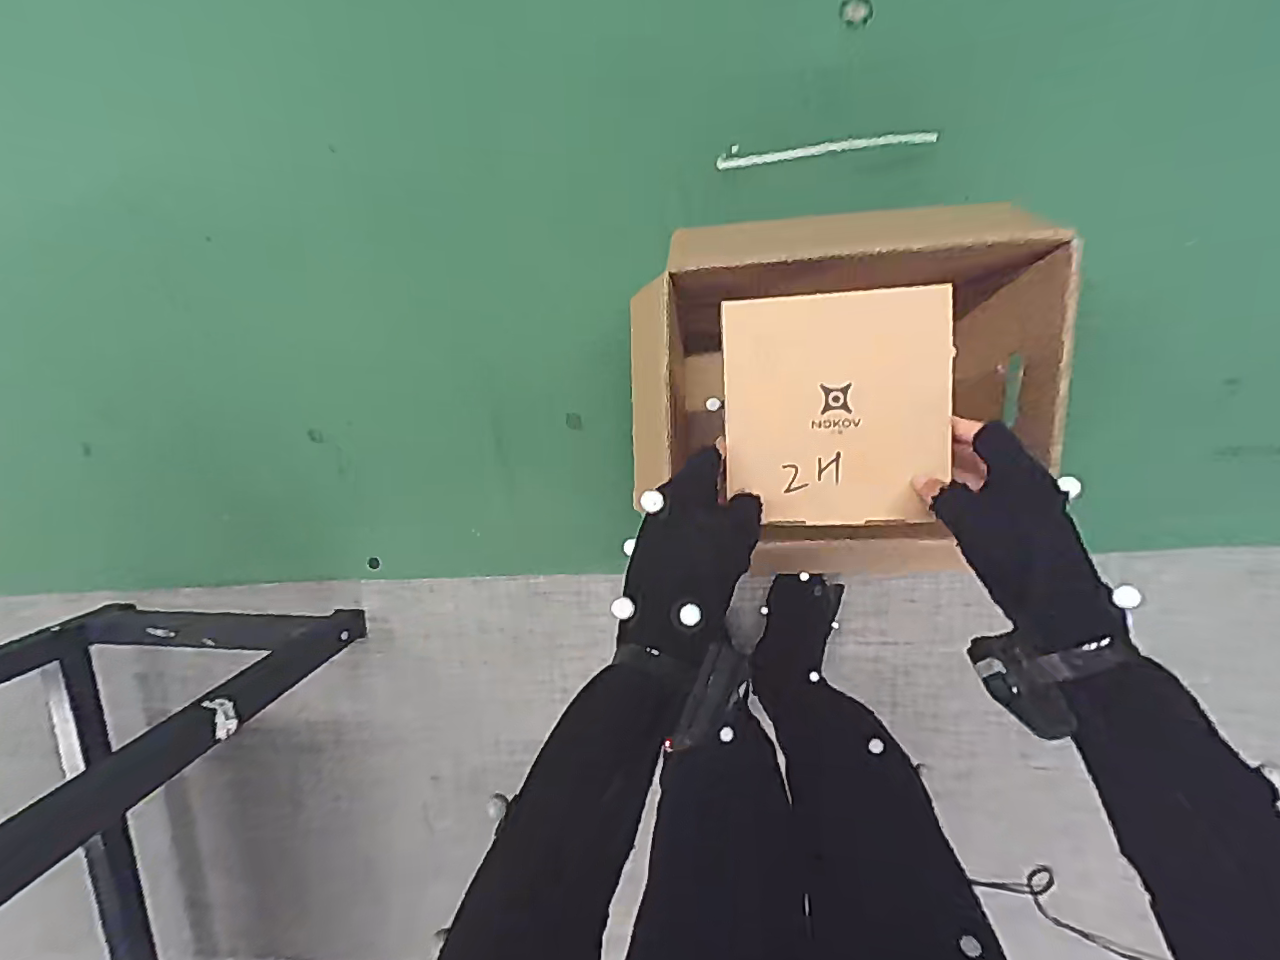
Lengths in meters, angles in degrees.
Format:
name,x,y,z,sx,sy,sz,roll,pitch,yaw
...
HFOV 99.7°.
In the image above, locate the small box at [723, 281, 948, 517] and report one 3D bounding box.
name,x,y,z,sx,sy,sz,roll,pitch,yaw
small box,0.159,-0.064,0.491,0.168,0.176,0.179,-2,95,10
